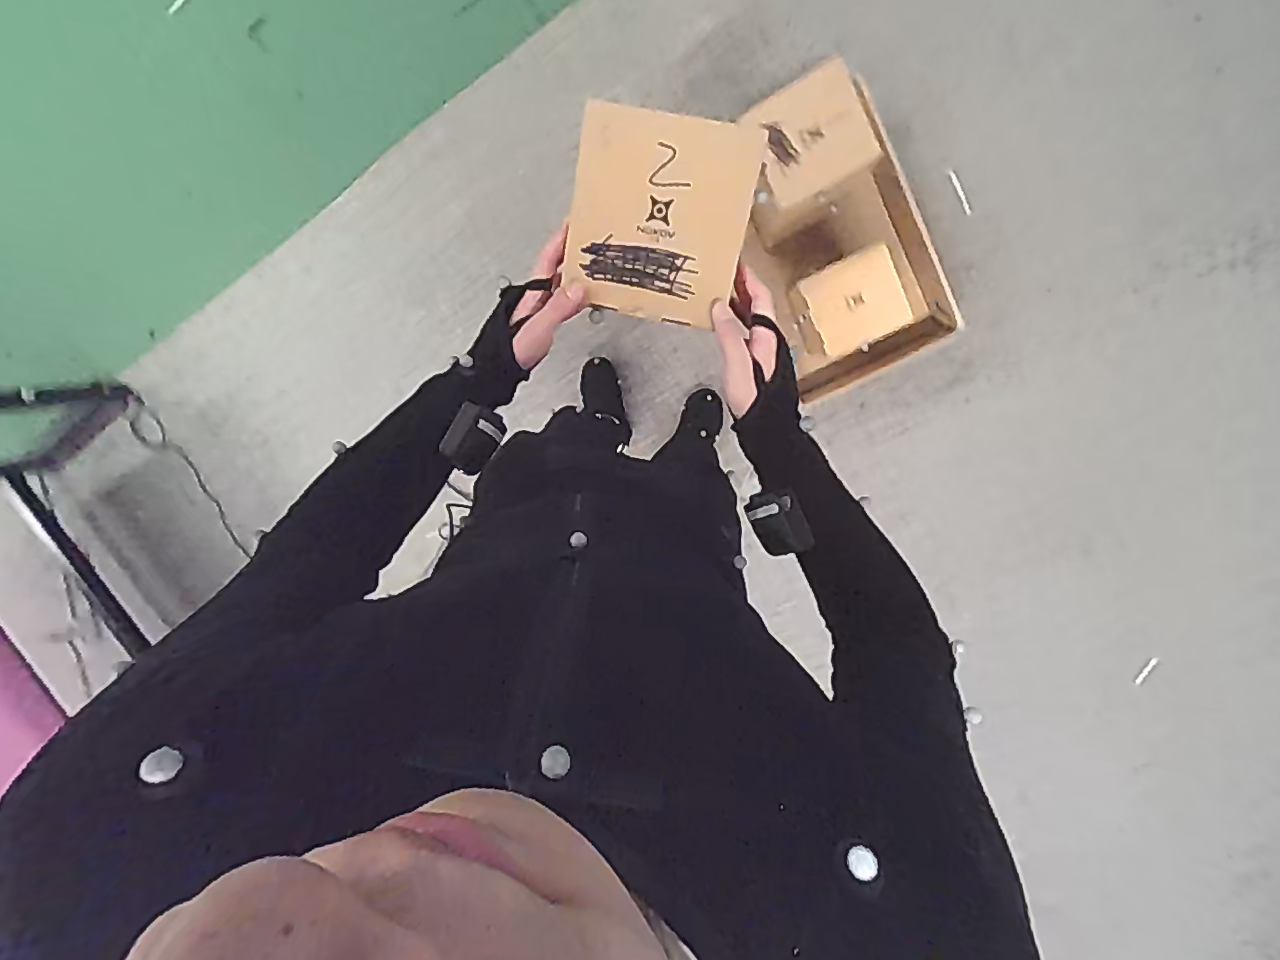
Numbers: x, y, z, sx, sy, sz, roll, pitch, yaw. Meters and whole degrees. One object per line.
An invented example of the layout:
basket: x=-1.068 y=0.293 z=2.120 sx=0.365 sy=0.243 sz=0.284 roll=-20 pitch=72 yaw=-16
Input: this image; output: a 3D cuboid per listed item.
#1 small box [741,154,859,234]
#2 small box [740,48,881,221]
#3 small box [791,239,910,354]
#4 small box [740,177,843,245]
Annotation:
small box: x=0.315 y=-0.628 z=1.100 sx=0.179 sy=0.176 sz=0.168 roll=-23 pitch=101 yaw=15
small box: x=0.287 y=-0.583 z=0.944 sx=0.179 sy=0.176 sz=0.168 roll=-25 pitch=100 yaw=14
small box: x=0.437 y=-0.384 z=1.148 sx=0.179 sy=0.176 sz=0.168 roll=-23 pitch=100 yaw=16
small box: x=0.343 y=-0.672 z=1.253 sx=0.179 sy=0.176 sz=0.168 roll=-23 pitch=100 yaw=14
